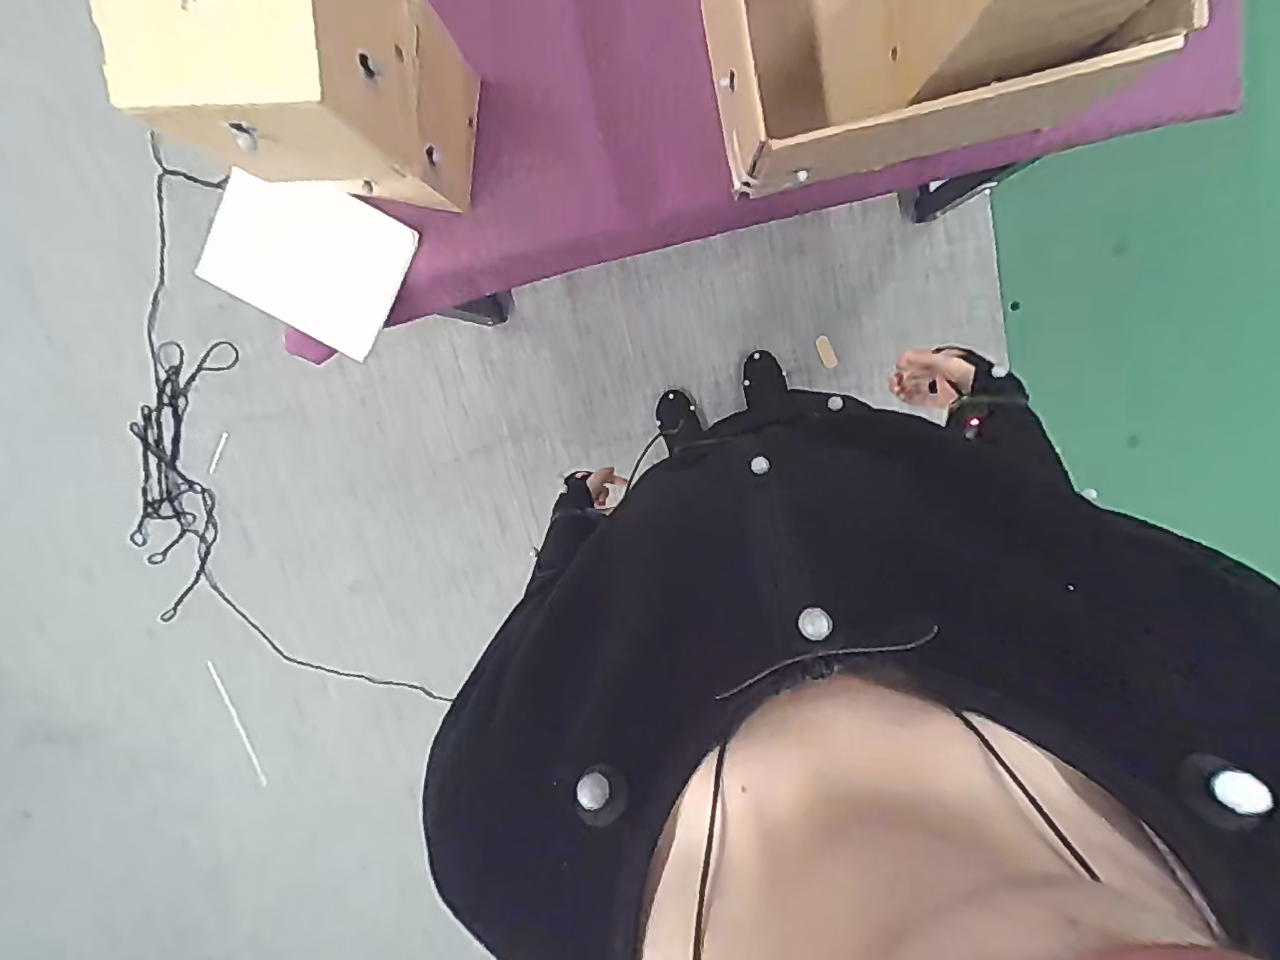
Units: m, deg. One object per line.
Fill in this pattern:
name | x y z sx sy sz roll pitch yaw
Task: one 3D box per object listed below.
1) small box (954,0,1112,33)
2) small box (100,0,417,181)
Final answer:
small box | 0.338 -0.456 0.363 0.179 0.176 0.168 -9 100 9
small box | -0.315 -0.382 0.479 0.179 0.176 0.168 1 101 5
